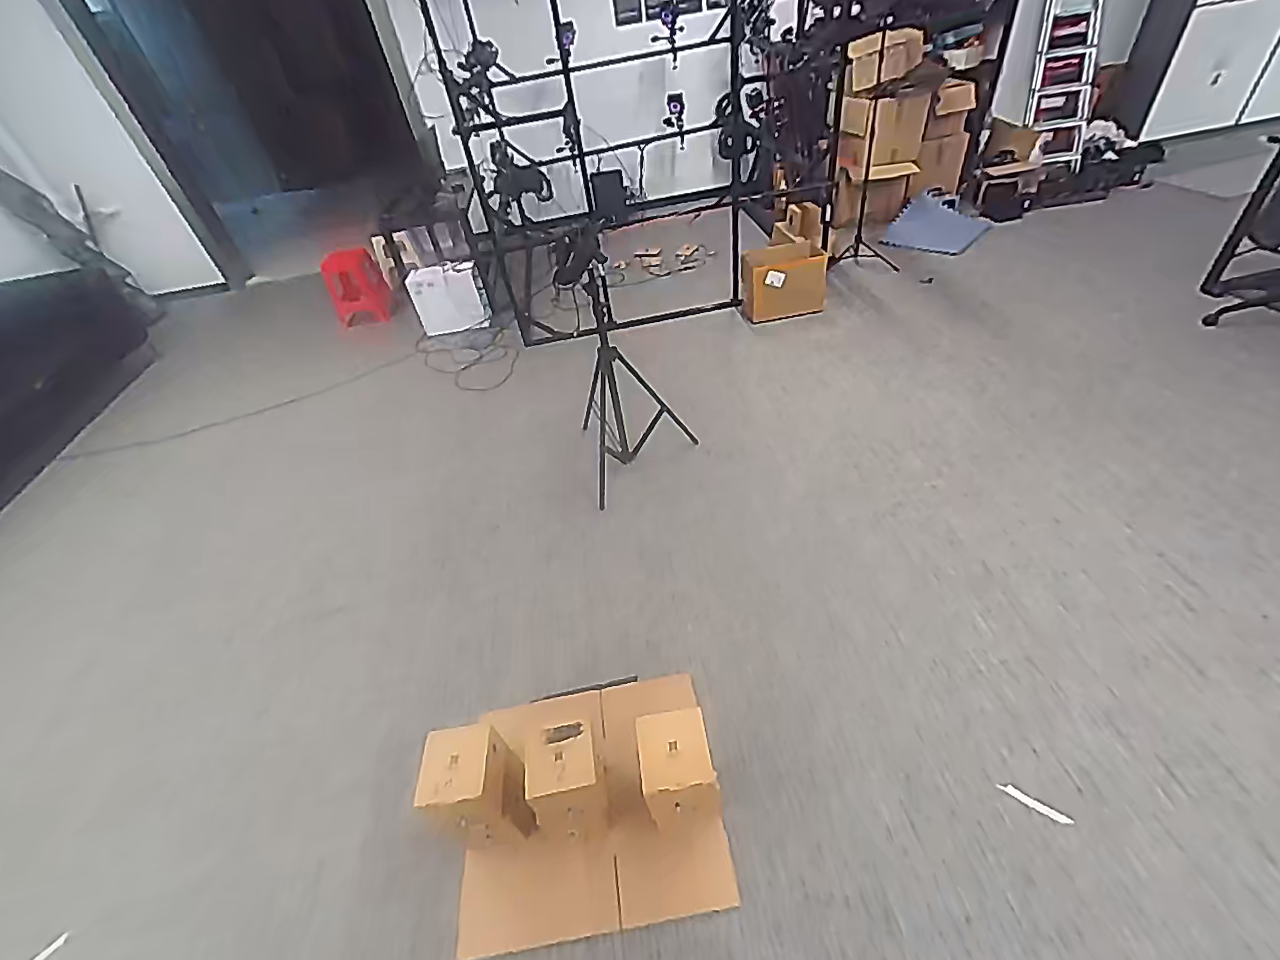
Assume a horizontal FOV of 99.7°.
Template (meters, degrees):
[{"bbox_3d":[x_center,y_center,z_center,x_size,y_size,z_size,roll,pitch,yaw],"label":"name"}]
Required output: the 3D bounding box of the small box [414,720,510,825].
[{"bbox_3d":[-0.433,0.730,1.349,0.168,0.176,0.179,-10,43,2],"label":"small box"}]

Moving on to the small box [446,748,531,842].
[{"bbox_3d":[-0.399,0.853,1.454,0.168,0.176,0.179,-10,43,1],"label":"small box"}]

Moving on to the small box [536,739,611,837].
[{"bbox_3d":[-0.171,0.822,1.442,0.168,0.176,0.179,-8,42,2],"label":"small box"}]

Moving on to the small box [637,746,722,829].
[{"bbox_3d":[0.106,0.786,1.426,0.179,0.176,0.168,-17,43,-7],"label":"small box"}]

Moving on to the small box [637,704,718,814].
[{"bbox_3d":[0.090,0.675,1.307,0.168,0.176,0.179,-10,43,0],"label":"small box"}]
